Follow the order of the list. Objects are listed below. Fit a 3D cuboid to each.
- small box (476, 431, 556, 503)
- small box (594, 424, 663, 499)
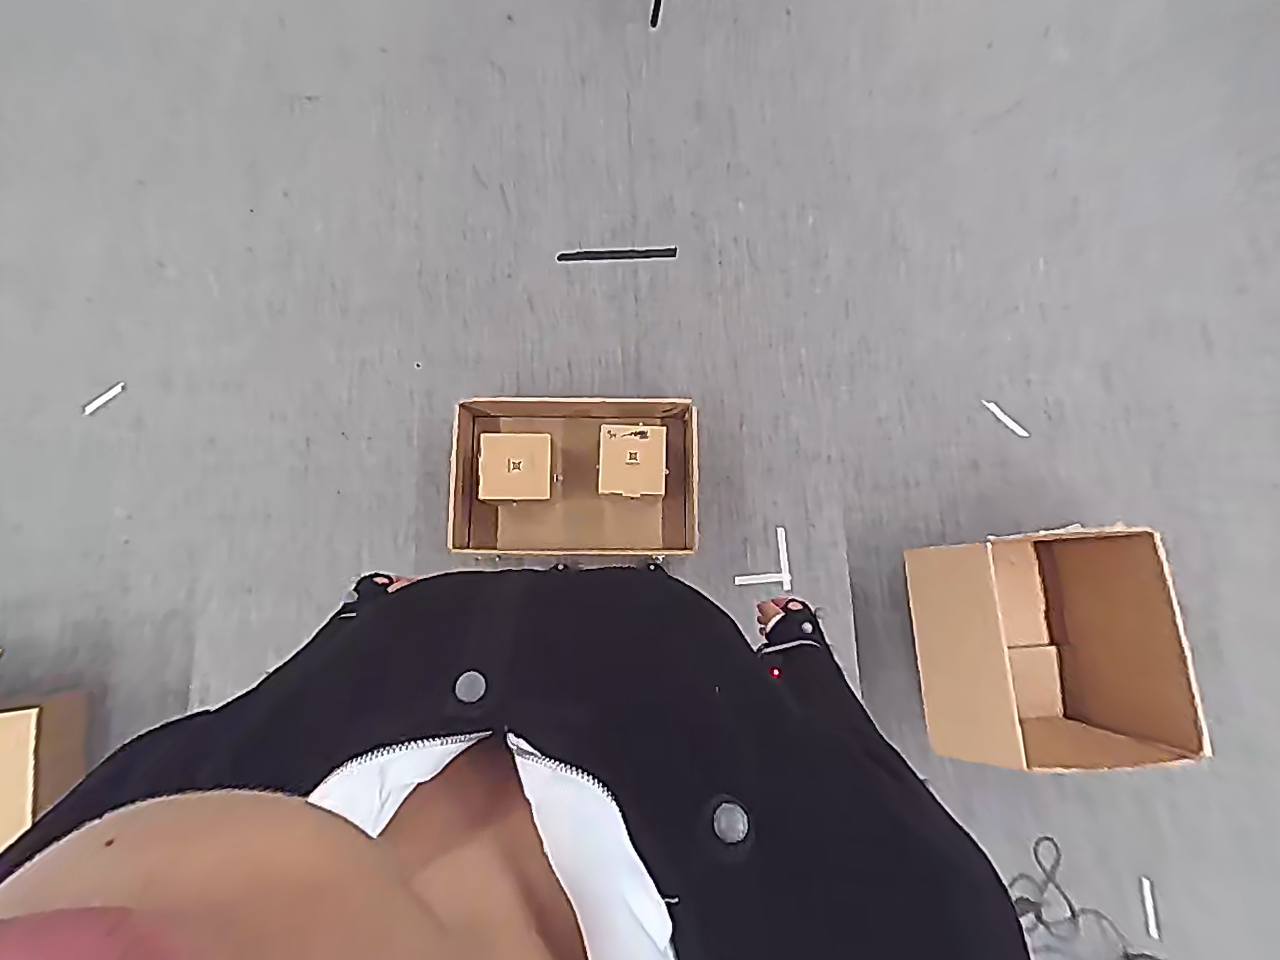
[{"bbox_3d":[-0.317,-0.029,1.405,0.179,0.176,0.168,0,84,-4],"label":"small box"},{"bbox_3d":[-0.028,-0.042,1.415,0.168,0.176,0.179,2,83,-1],"label":"small box"}]
